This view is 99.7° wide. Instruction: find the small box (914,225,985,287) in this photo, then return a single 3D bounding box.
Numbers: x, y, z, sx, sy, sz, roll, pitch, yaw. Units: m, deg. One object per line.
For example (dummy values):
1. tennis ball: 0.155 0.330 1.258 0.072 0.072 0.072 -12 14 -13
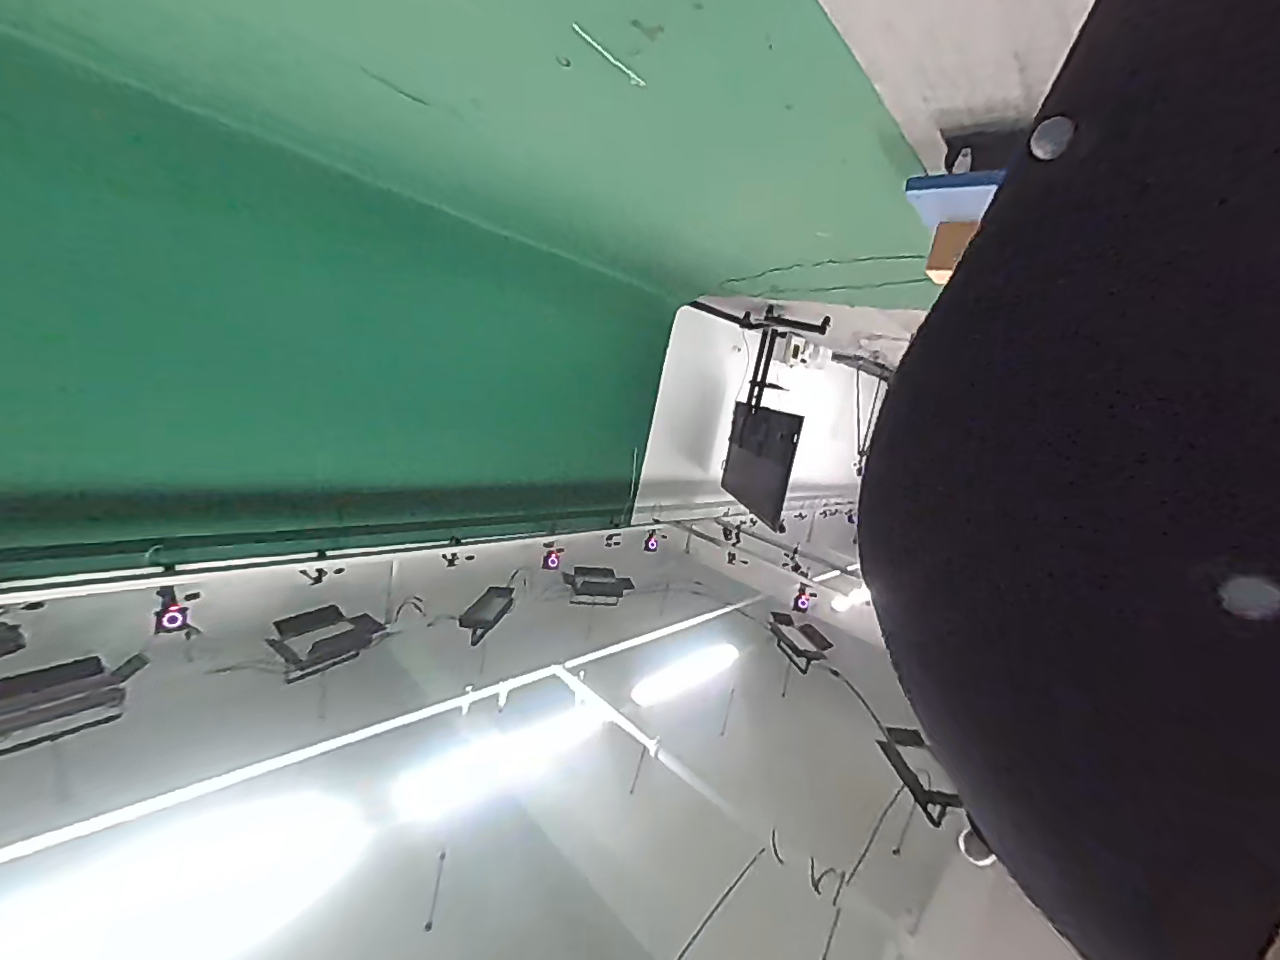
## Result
1. small box: 1.112 -0.803 1.935 0.179 0.176 0.168 19 -168 37
